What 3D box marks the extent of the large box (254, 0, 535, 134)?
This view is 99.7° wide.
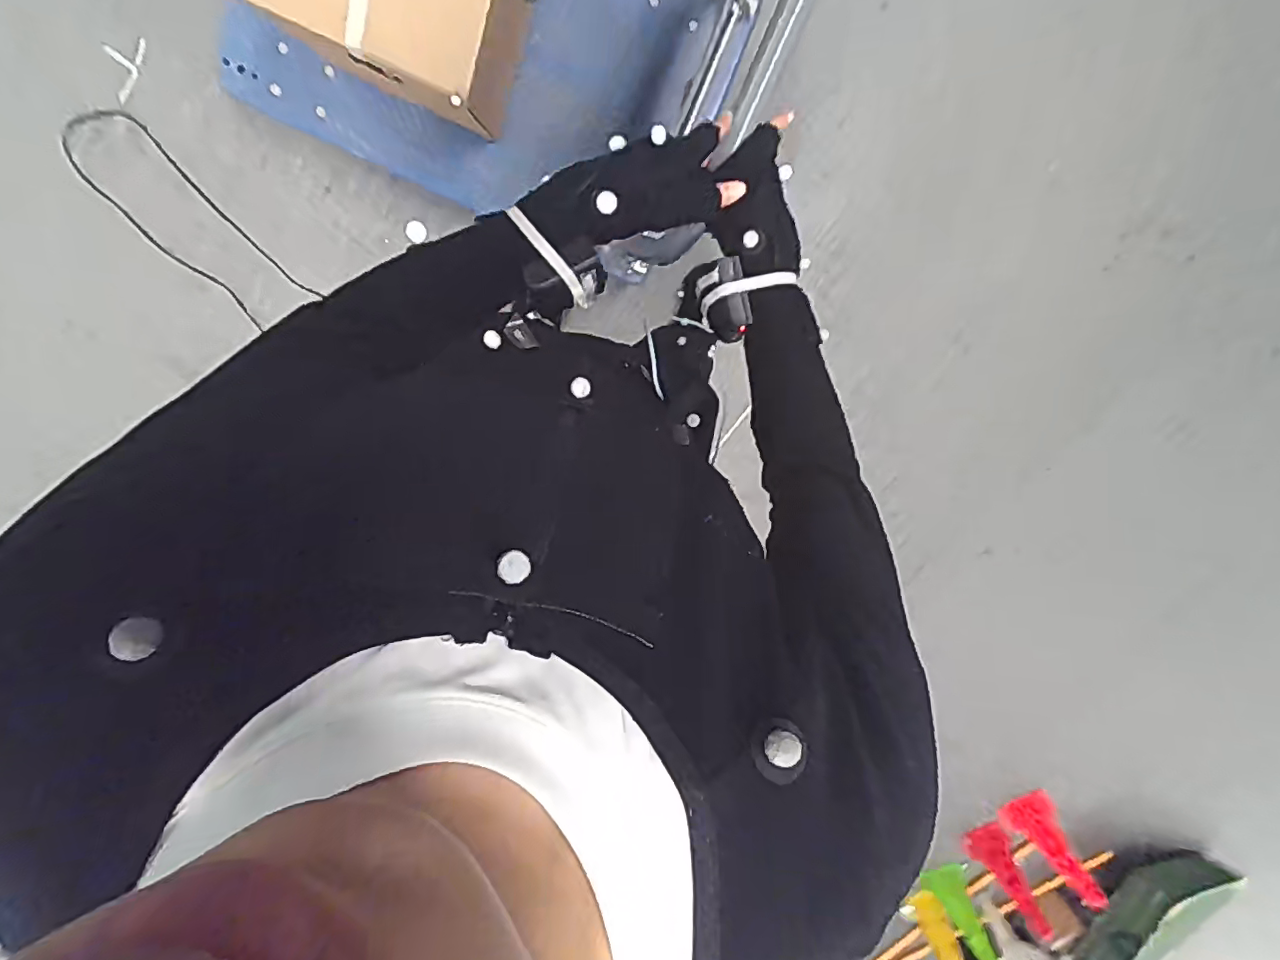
[{"bbox_3d":[-0.327,-0.830,0.819,0.320,0.320,0.408,20,110,-12],"label":"large box"}]
